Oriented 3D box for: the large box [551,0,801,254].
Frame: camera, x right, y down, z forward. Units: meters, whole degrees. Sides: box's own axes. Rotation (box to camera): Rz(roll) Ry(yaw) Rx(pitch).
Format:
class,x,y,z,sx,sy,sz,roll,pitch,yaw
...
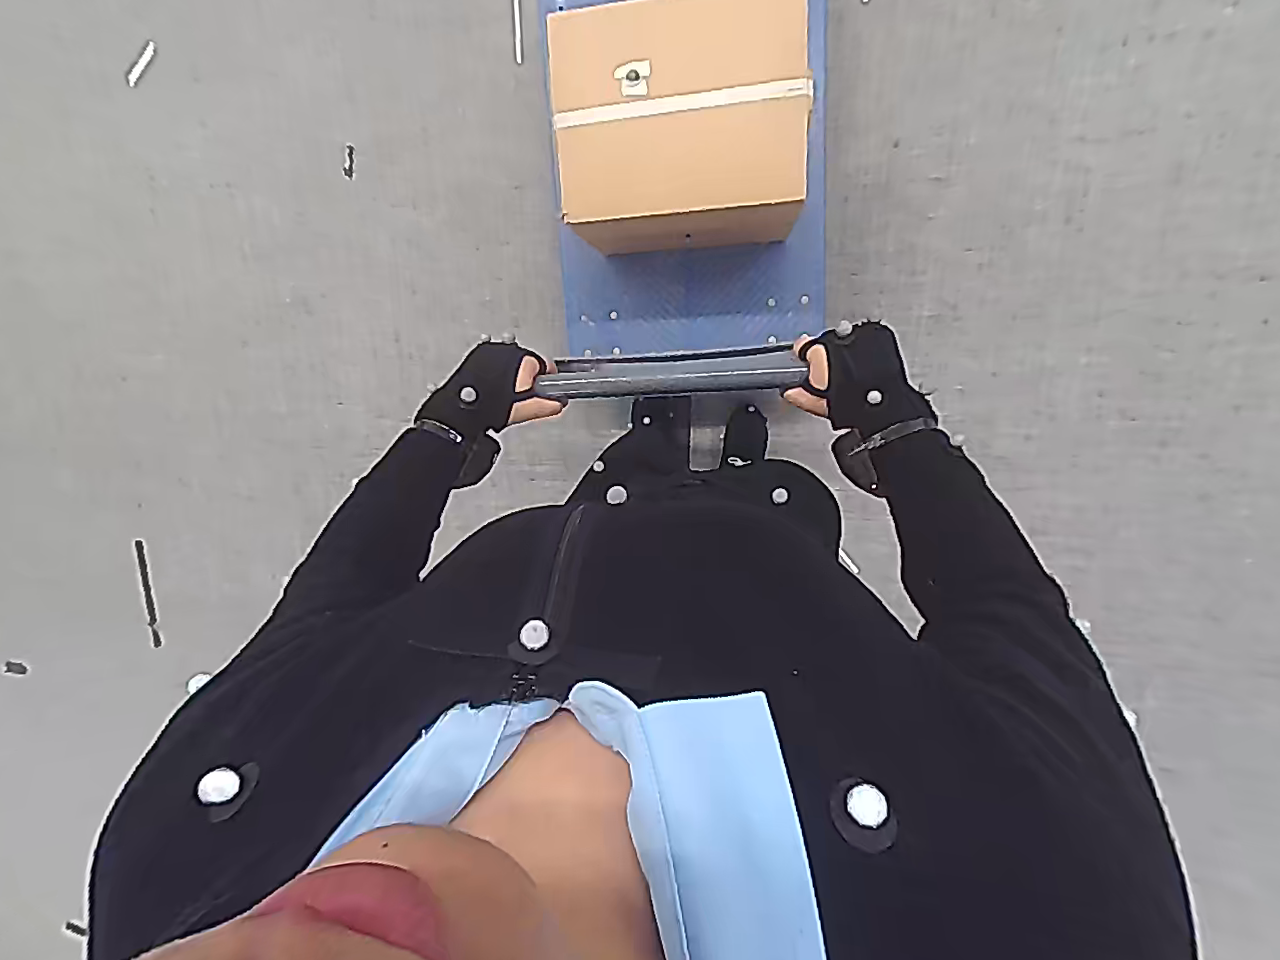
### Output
class,x,y,z,sx,sy,sz,roll,pitch,yaw
large box,0.084,-0.635,1.025,0.408,0.320,0.320,-1,102,11
